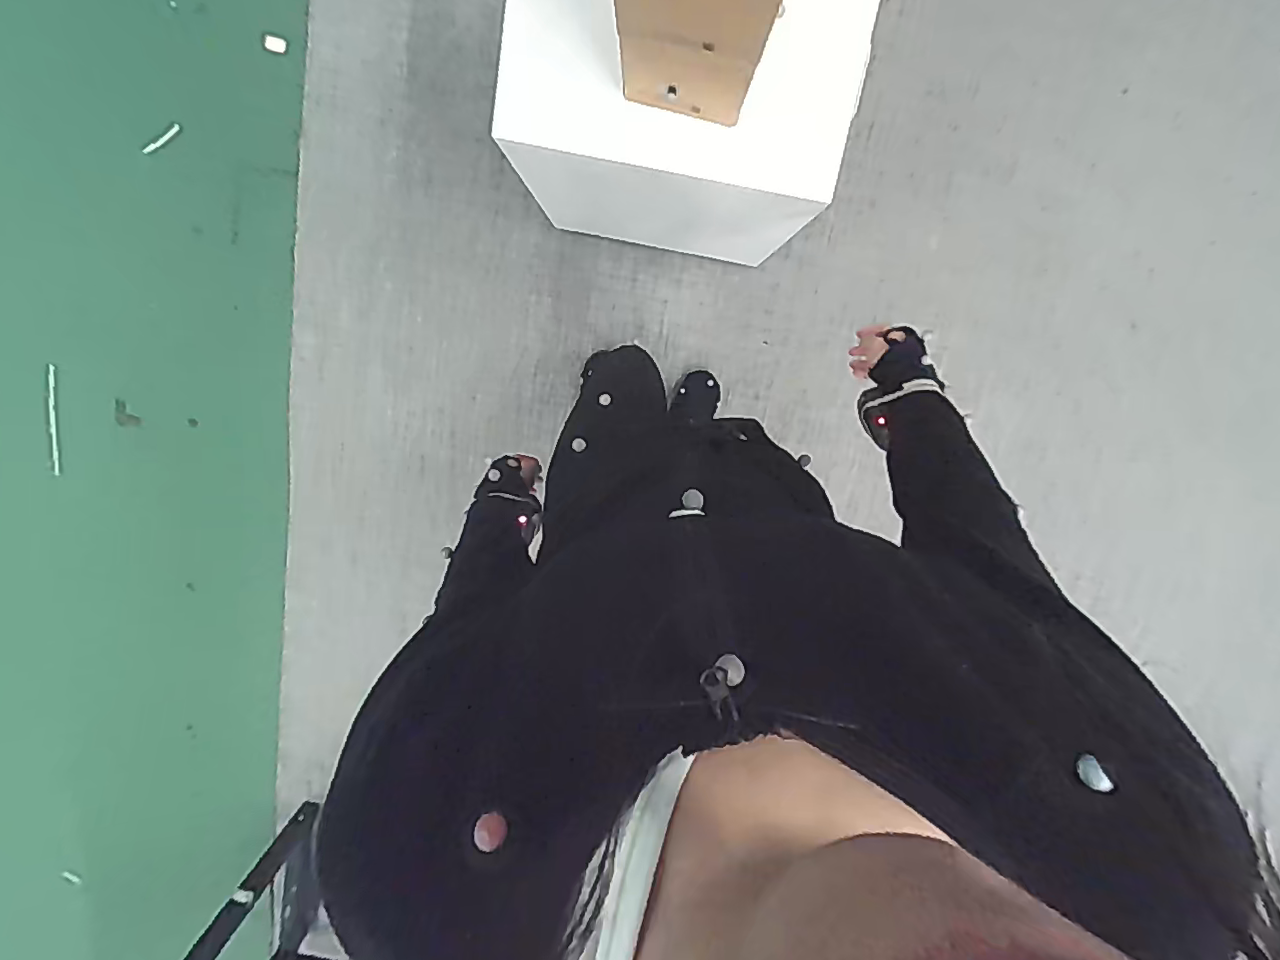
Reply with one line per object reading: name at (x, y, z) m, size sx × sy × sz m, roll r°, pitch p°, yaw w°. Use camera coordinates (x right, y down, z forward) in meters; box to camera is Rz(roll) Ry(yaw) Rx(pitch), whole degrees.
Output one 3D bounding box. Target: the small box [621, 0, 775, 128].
small box at (0.075, -0.582, 0.669) m, size 0.168 × 0.176 × 0.179 m, roll 12°, pitch 101°, yaw -1°
